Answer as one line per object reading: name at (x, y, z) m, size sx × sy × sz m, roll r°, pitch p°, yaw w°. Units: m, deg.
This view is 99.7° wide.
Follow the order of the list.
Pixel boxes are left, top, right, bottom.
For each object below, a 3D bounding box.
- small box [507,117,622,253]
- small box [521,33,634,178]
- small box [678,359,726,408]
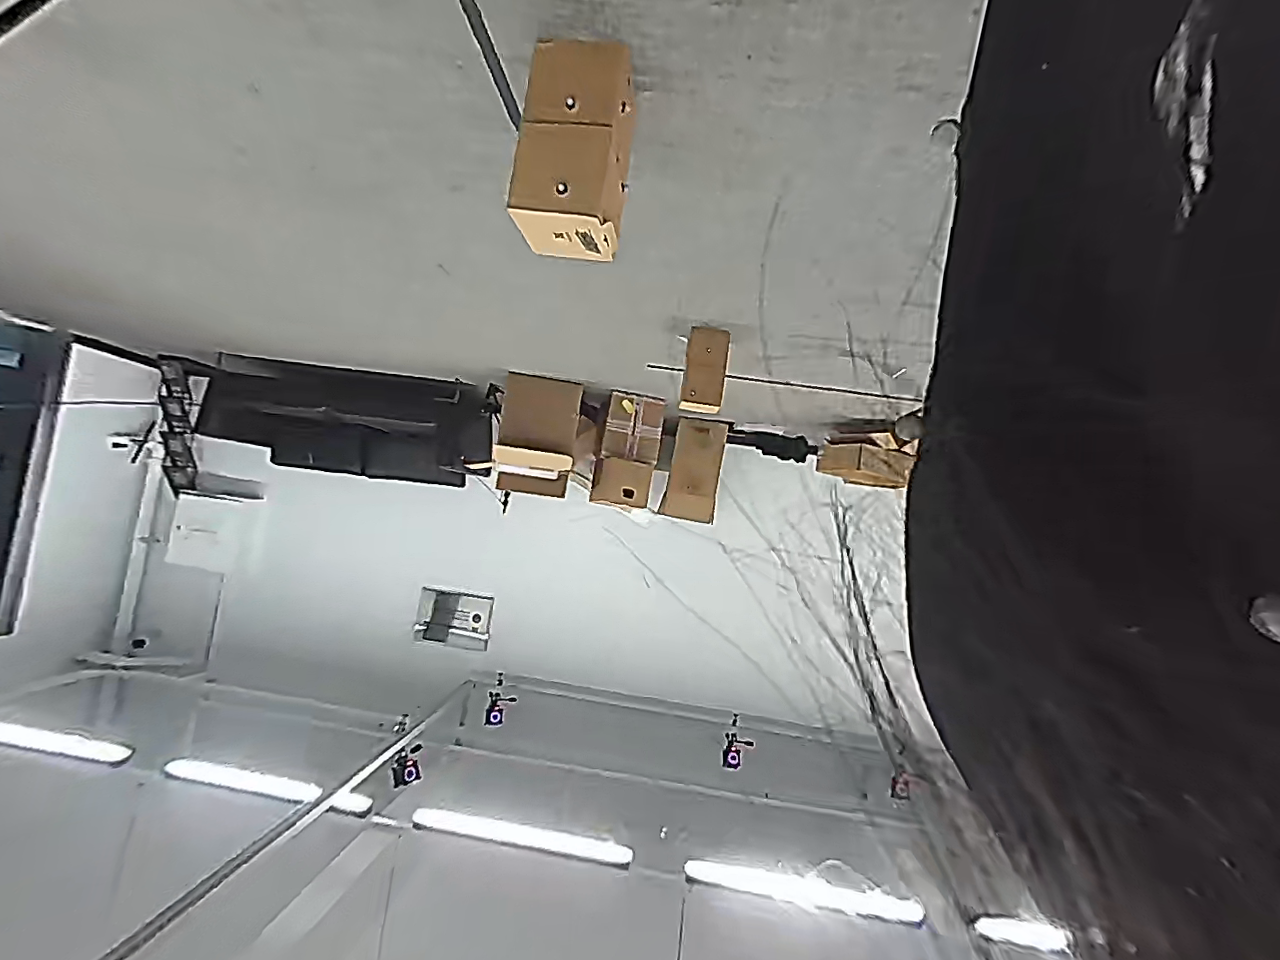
small box at (-0.135, -0.559, 1.037) m, size 0.179 × 0.176 × 0.168 m, roll 8°, pitch 177°, yaw 8°
small box at (-0.112, -0.722, 1.051) m, size 0.179 × 0.176 × 0.168 m, roll 9°, pitch 176°, yaw 9°
small box at (0.272, -0.428, 2.392) m, size 0.179 × 0.176 × 0.168 m, roll 7°, pitch 178°, yaw 0°
